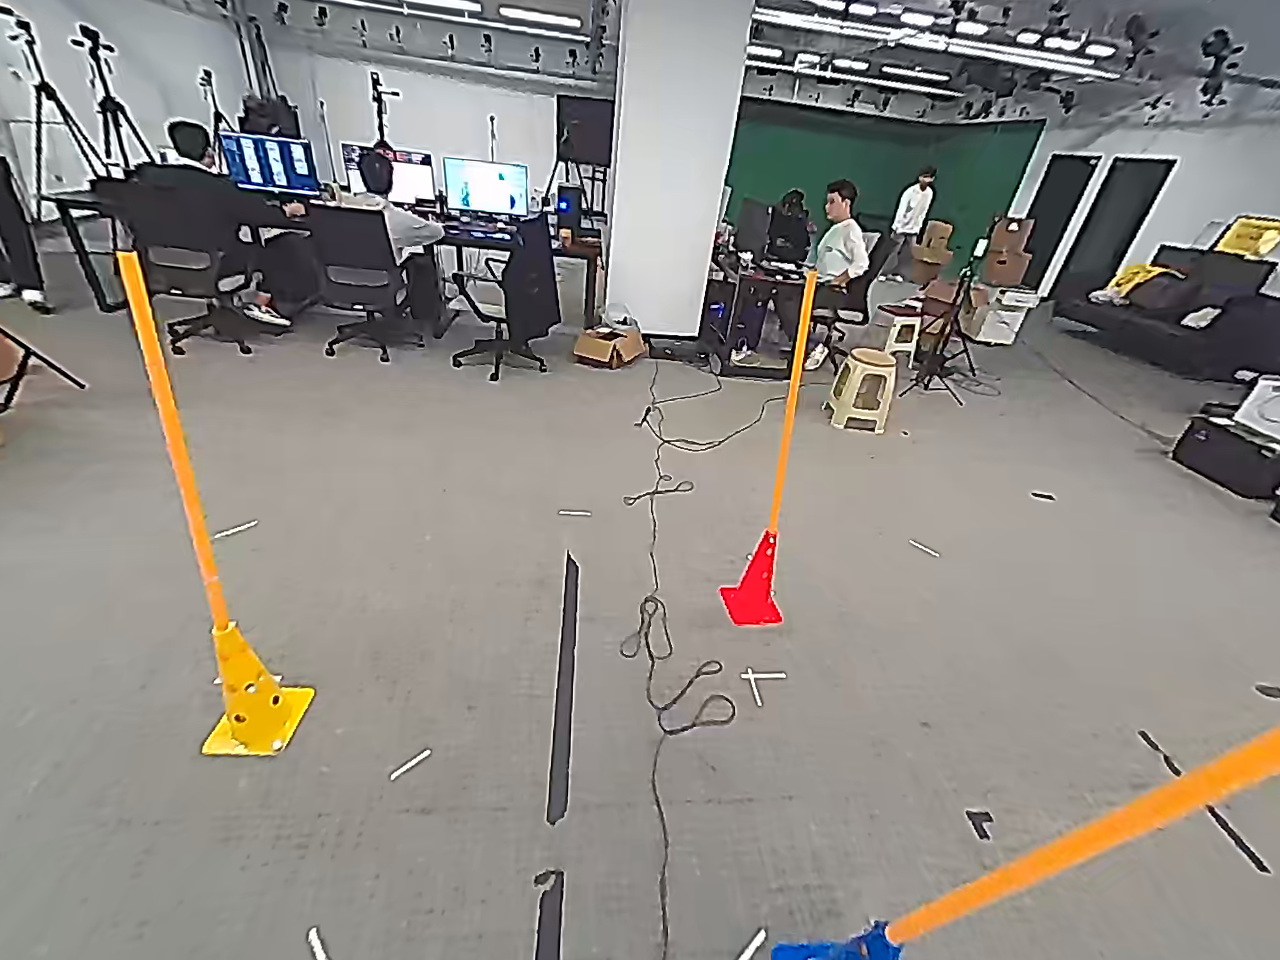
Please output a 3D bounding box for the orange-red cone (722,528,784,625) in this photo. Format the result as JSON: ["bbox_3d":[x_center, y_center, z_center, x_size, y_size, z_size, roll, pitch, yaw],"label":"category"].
[{"bbox_3d":[0.439,0.326,1.945,0.199,0.360,0.198,-1,31,-10],"label":"orange-red cone"}]

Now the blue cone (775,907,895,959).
[{"bbox_3d":[0.397,0.909,1.001,0.193,0.380,0.192,5,30,-4],"label":"blue cone"}]
